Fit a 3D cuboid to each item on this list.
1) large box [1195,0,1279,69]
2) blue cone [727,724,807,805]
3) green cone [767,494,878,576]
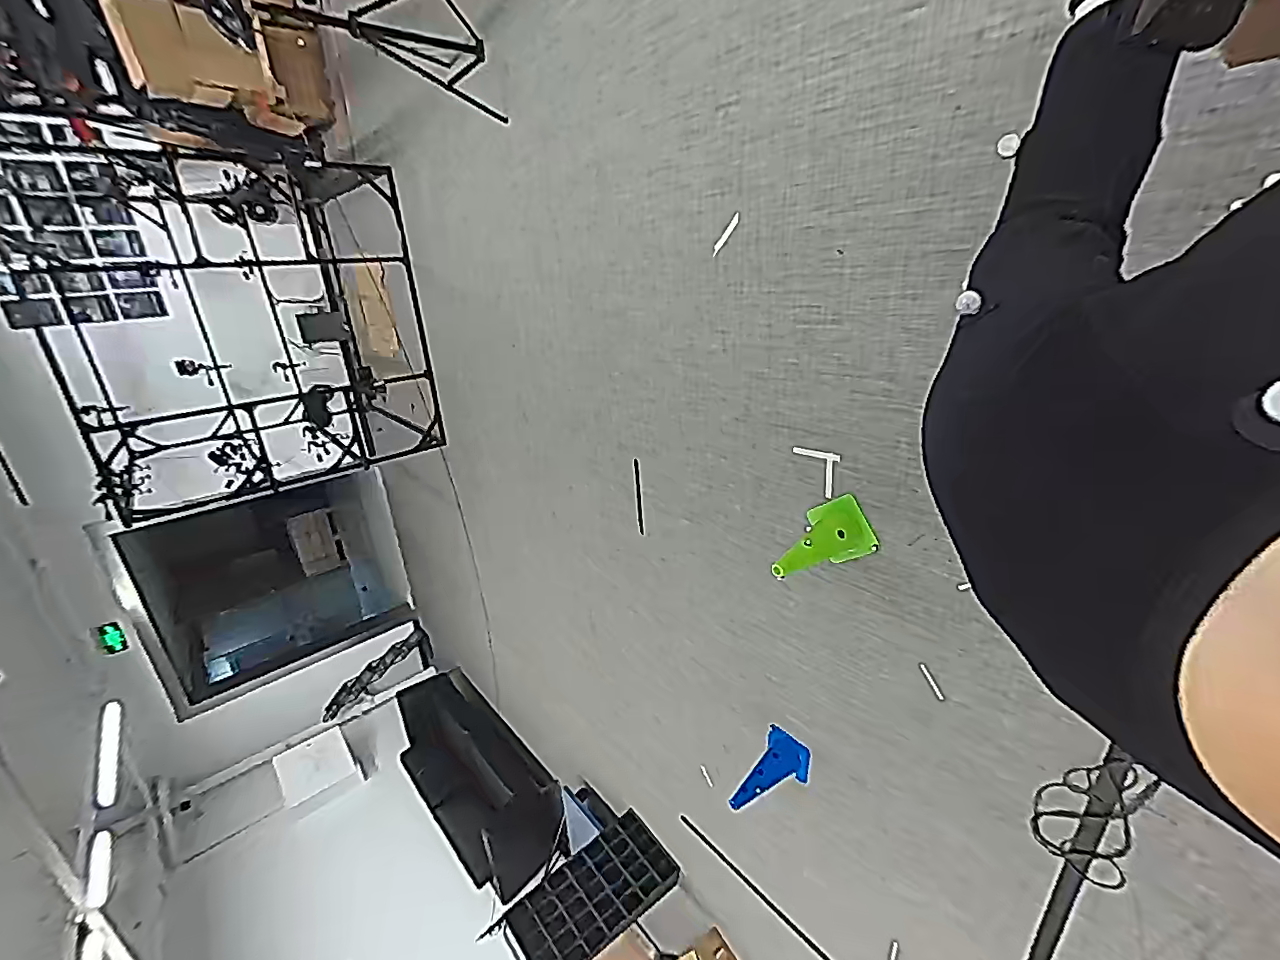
[{"bbox_3d":[0.582,-0.454,0.248,0.408,0.320,0.320,19,122,44],"label":"large box"},{"bbox_3d":[0.501,1.203,2.210,0.192,0.380,0.193,26,125,45],"label":"blue cone"},{"bbox_3d":[0.527,0.207,1.674,0.202,0.368,0.200,-38,75,54],"label":"green cone"}]
